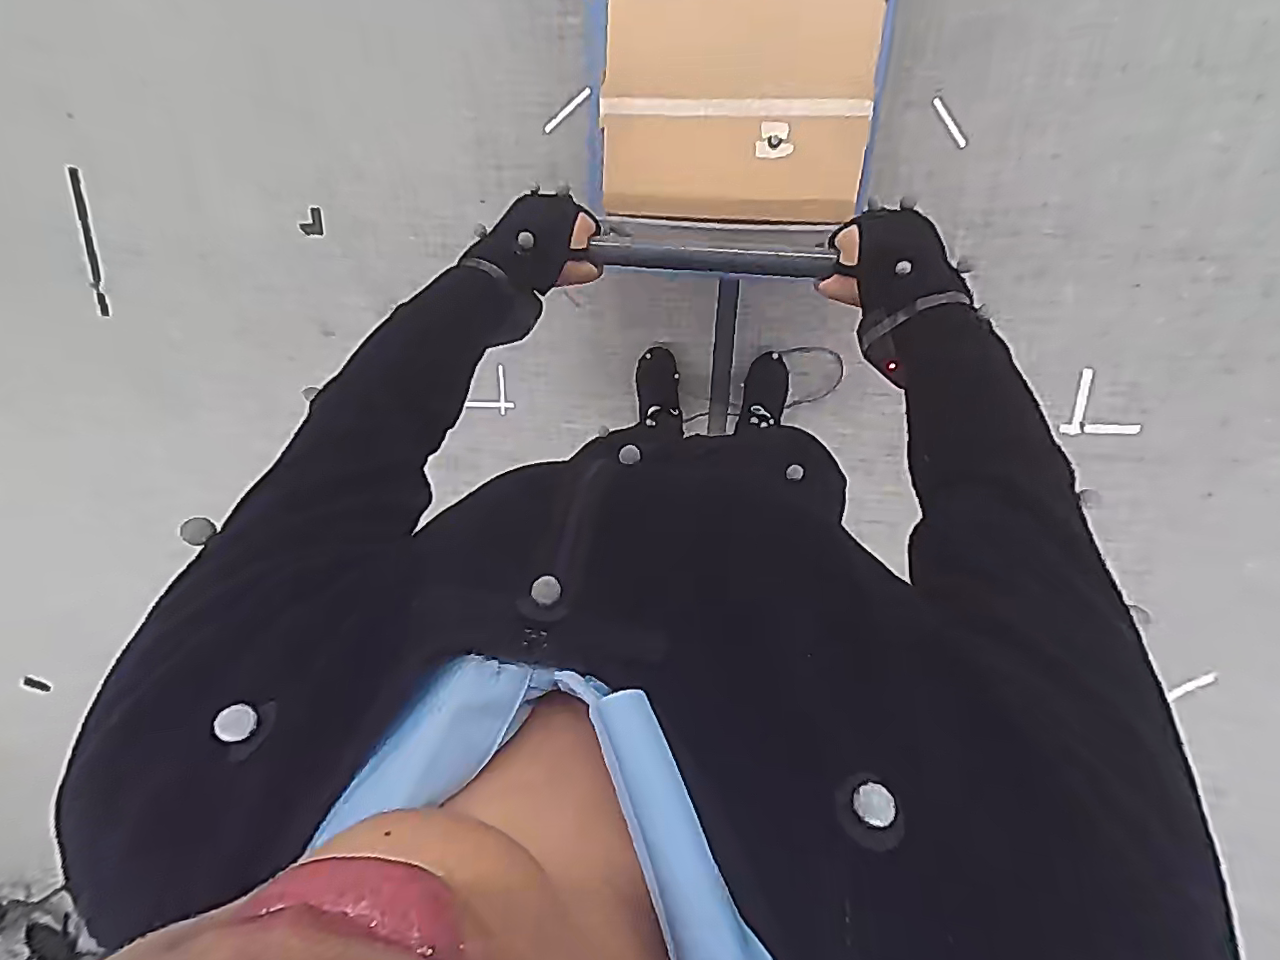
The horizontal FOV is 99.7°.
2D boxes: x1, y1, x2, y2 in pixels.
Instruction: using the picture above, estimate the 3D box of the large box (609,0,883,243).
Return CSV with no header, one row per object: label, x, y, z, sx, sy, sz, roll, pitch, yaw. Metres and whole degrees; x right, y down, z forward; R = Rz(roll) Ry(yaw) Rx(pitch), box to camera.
large box,0.166,-0.620,0.983,0.408,0.320,0.320,5,108,6
